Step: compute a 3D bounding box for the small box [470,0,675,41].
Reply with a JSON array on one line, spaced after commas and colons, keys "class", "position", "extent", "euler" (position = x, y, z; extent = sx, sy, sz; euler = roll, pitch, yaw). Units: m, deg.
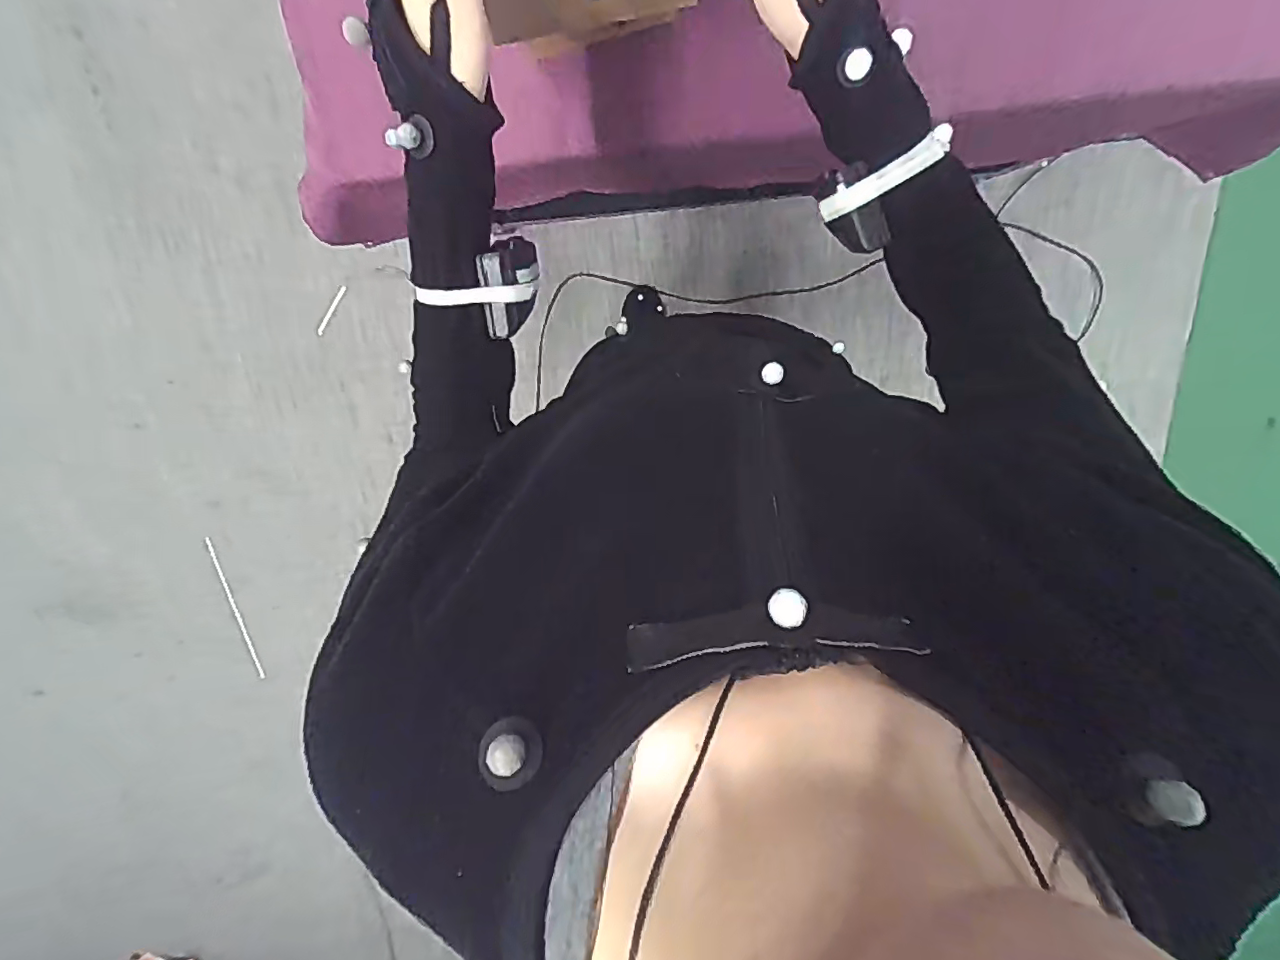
[{"class": "small box", "position": [-0.045, -0.415, 0.337], "extent": [0.179, 0.176, 0.168], "euler": [-14, 112, -3]}]

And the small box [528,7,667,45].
[{"class": "small box", "position": [-0.063, -0.538, 0.491], "extent": [0.168, 0.176, 0.179], "euler": [-12, 107, 2]}]
